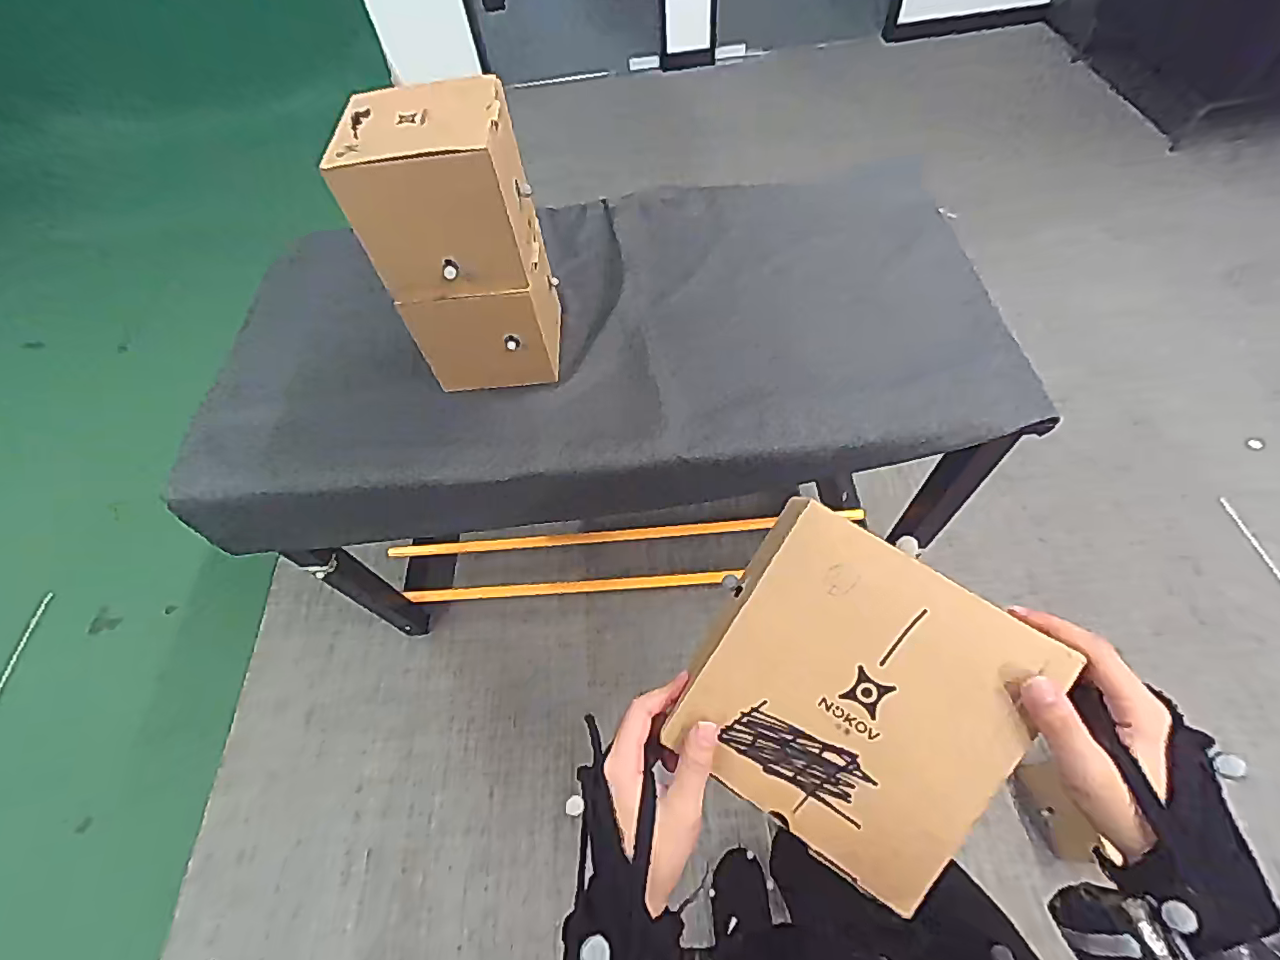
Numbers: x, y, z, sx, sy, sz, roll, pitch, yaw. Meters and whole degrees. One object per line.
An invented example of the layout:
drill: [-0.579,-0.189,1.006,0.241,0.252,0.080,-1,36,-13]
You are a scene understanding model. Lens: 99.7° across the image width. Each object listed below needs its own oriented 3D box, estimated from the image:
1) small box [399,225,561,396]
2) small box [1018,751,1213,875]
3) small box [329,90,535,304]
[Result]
small box: [-0.217,-0.242,0.791,0.179,0.176,0.168,-5,55,3]
small box: [0.861,0.614,1.003,0.179,0.176,0.168,-10,56,-1]
small box: [-0.231,-0.337,0.658,0.179,0.176,0.168,-5,56,1]
